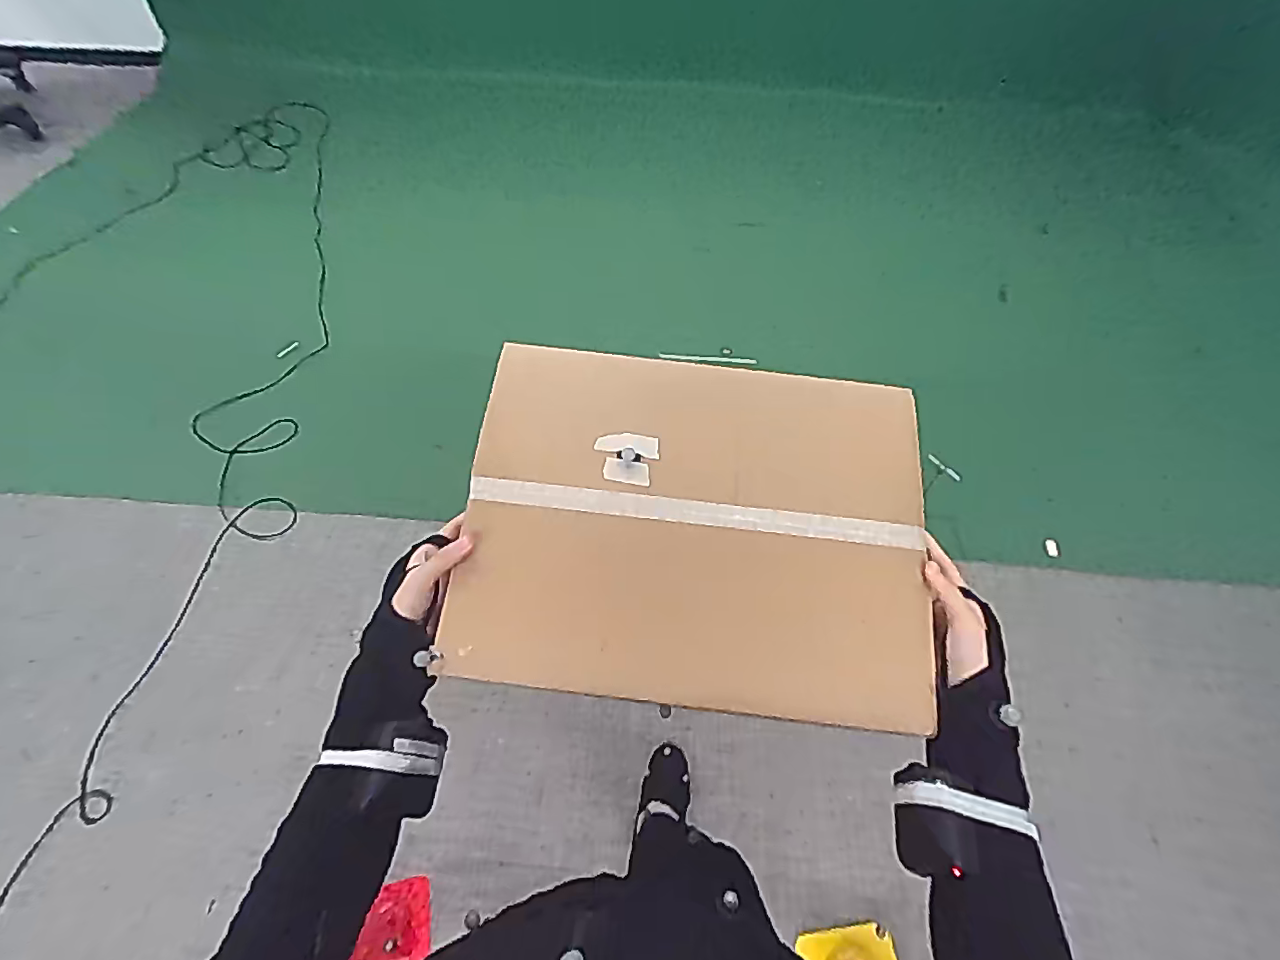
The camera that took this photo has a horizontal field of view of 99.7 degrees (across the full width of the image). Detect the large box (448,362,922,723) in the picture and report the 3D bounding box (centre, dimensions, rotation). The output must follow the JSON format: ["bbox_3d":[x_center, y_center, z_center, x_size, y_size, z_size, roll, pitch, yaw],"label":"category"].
[{"bbox_3d":[0.050,0.089,0.638,0.408,0.320,0.320,6,69,2],"label":"large box"}]
